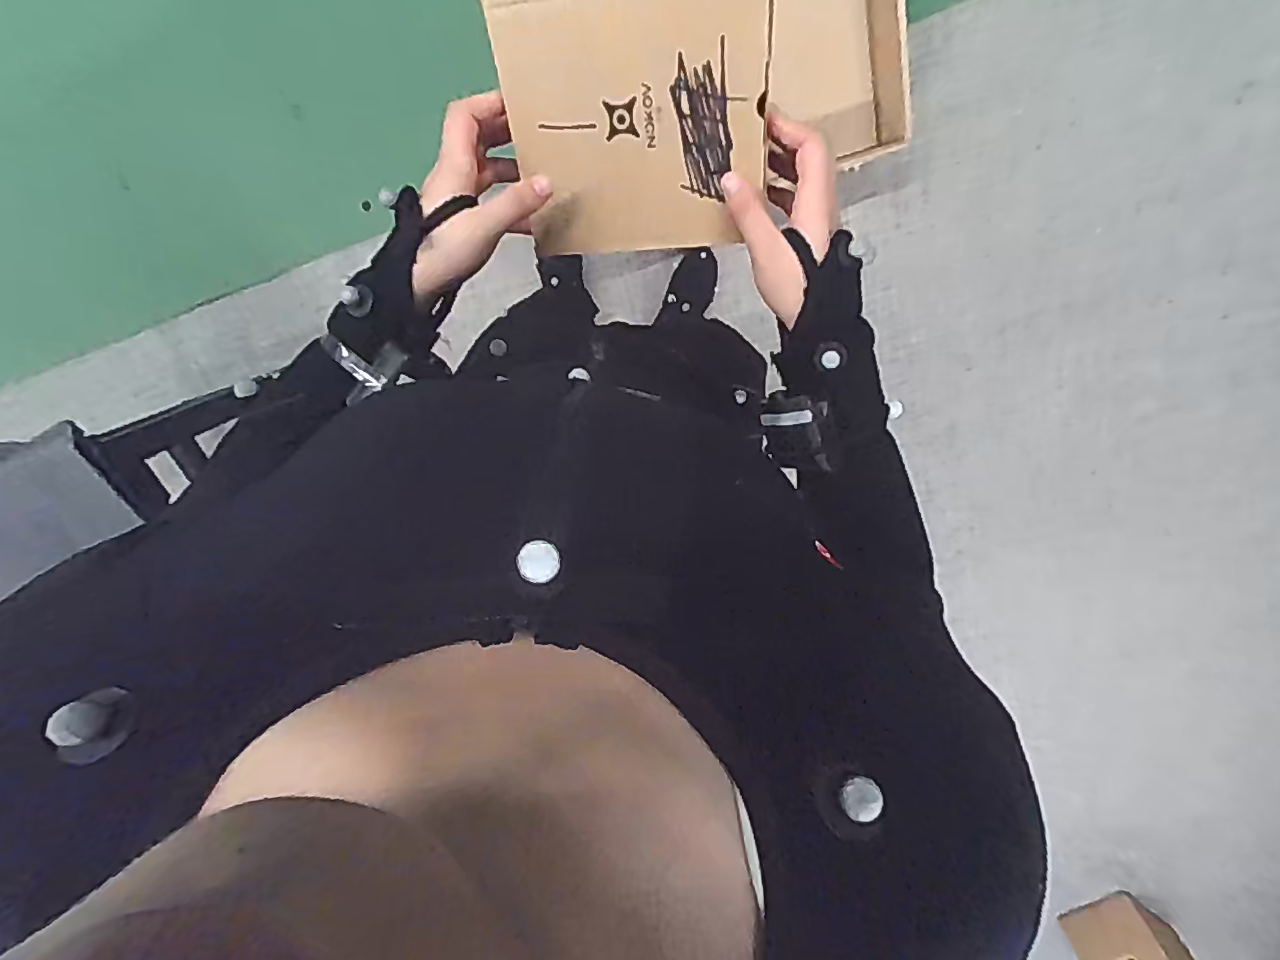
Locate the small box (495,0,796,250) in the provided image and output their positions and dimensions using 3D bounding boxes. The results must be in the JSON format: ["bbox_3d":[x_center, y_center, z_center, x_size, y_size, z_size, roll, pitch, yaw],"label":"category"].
[{"bbox_3d":[0.017,-0.286,0.404,0.179,0.176,0.168,2,130,11],"label":"small box"}]
